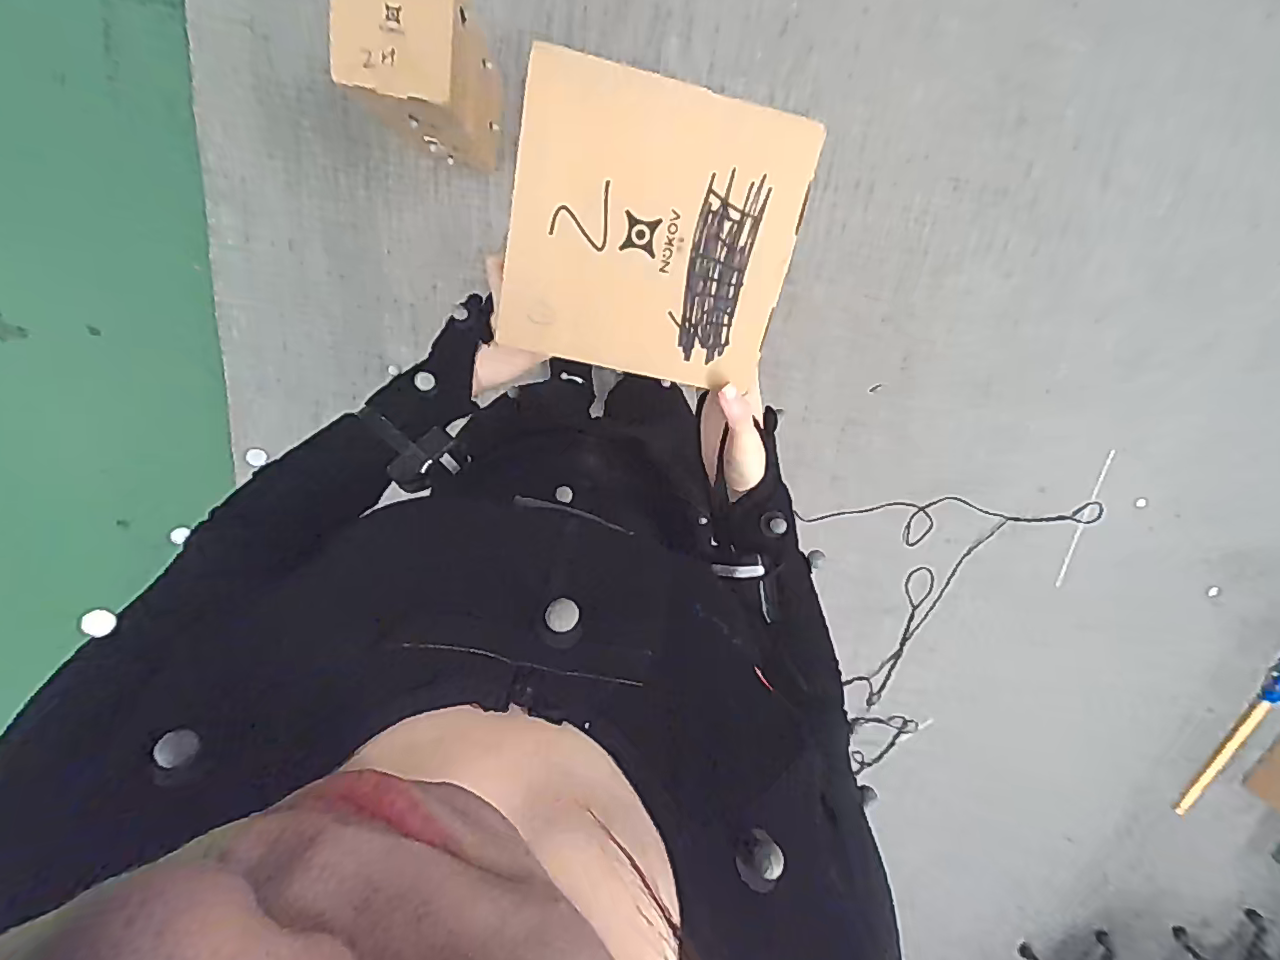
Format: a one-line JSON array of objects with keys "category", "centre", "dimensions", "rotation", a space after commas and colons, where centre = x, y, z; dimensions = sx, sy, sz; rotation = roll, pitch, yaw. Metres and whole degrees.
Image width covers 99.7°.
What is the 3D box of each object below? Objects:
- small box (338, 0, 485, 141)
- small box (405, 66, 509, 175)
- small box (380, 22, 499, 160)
[{"category": "small box", "centre": [-0.339, -0.653, 0.826], "dimensions": [0.168, 0.176, 0.179], "rotation": [8, 108, -7]}, {"category": "small box", "centre": [-0.375, -0.764, 1.132], "dimensions": [0.168, 0.176, 0.179], "rotation": [10, 108, -9]}, {"category": "small box", "centre": [-0.356, -0.710, 0.980], "dimensions": [0.168, 0.176, 0.179], "rotation": [7, 109, -7]}]
